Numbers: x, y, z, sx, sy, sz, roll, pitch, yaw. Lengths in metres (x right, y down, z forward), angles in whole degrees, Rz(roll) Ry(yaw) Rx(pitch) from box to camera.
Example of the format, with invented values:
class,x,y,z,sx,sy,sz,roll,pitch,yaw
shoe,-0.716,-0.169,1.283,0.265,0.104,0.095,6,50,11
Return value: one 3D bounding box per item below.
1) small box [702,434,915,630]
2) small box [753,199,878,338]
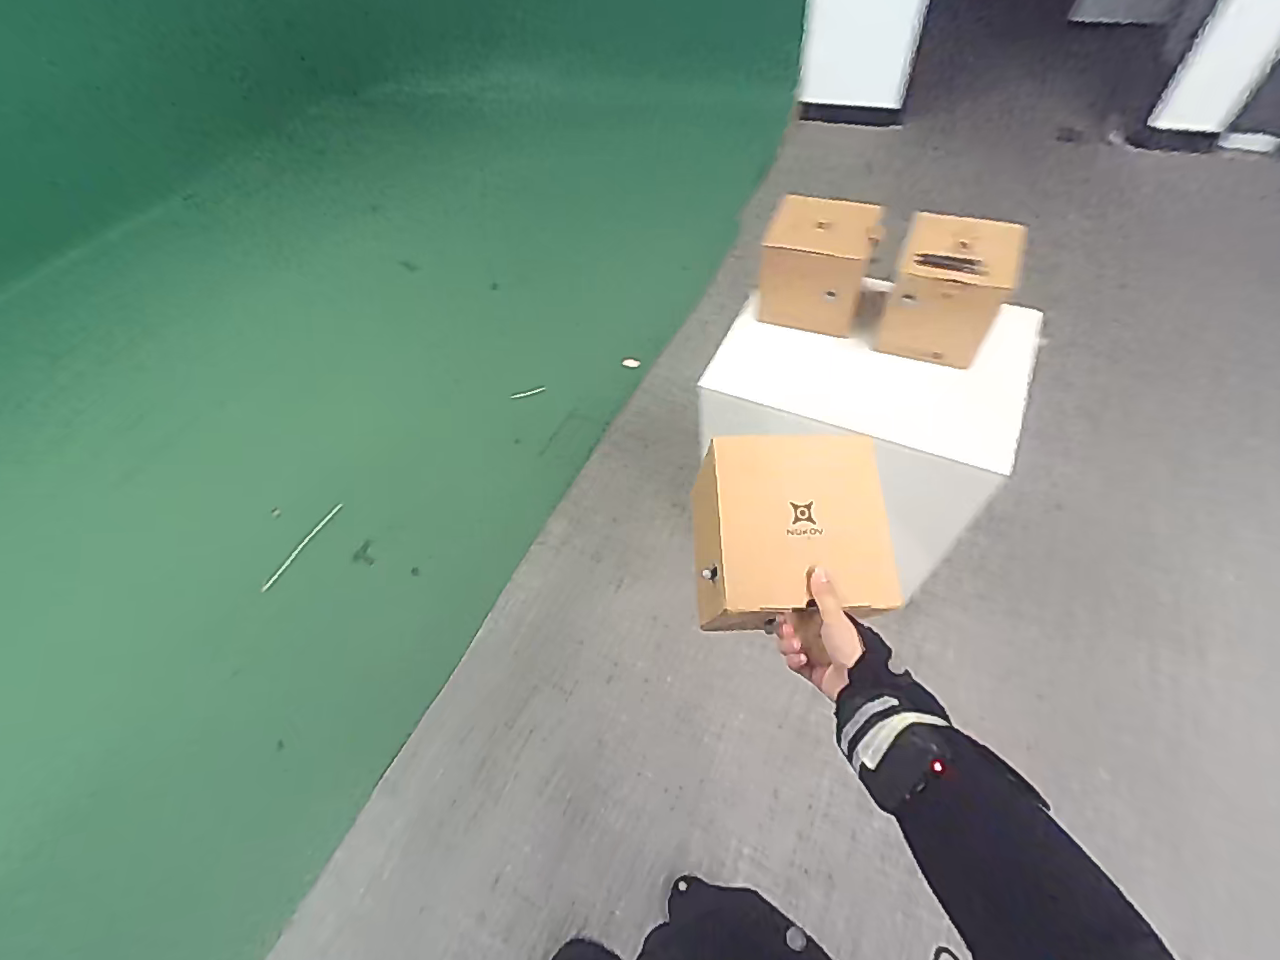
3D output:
class,x,y,z,sx,sy,sz,roll,pitch,yaw
small box,0.164,0.065,0.589,0.168,0.176,0.179,0,70,-3
small box,0.320,-0.389,1.006,0.179,0.176,0.168,16,59,17
